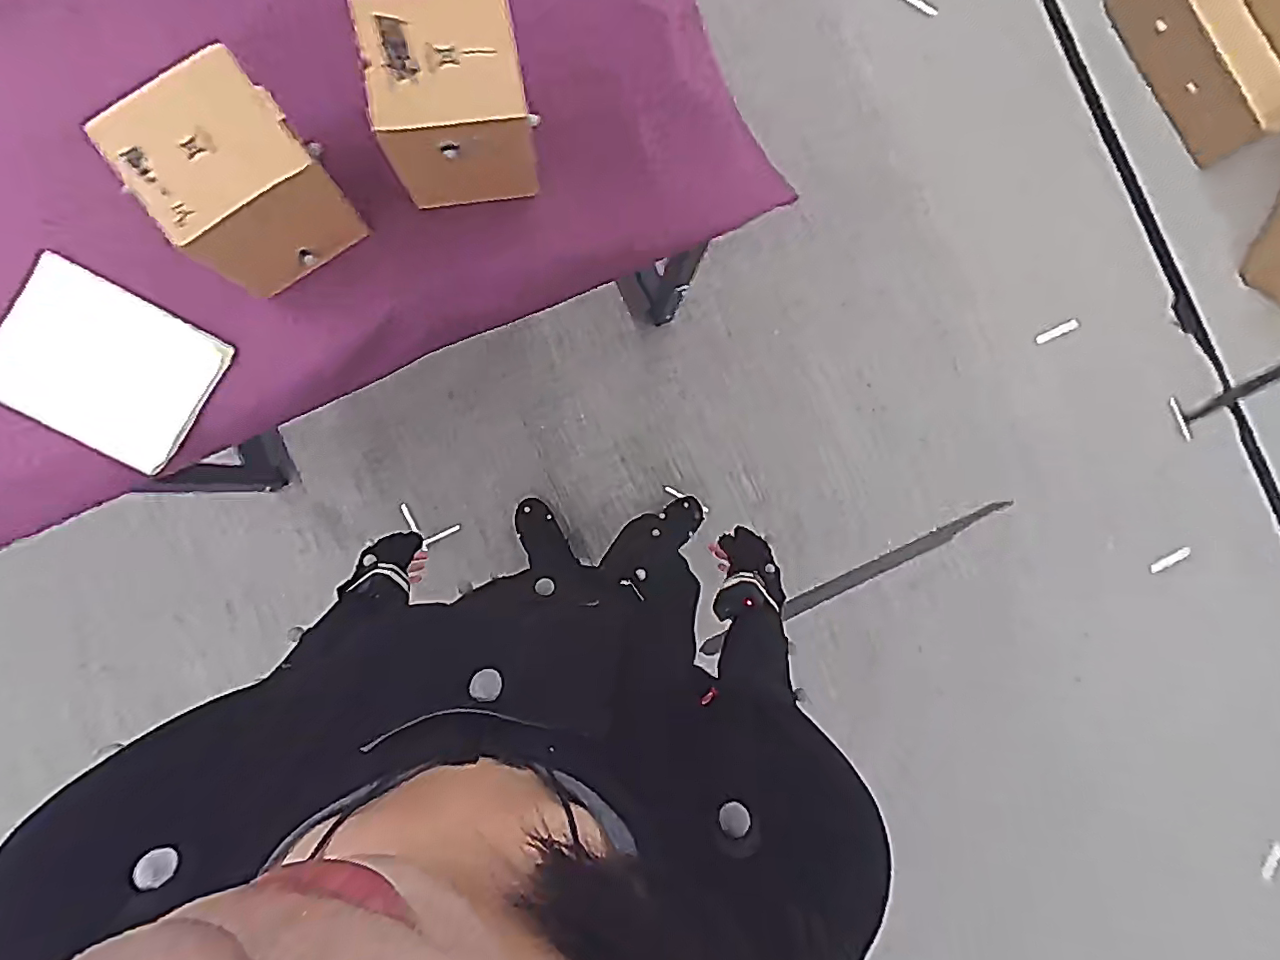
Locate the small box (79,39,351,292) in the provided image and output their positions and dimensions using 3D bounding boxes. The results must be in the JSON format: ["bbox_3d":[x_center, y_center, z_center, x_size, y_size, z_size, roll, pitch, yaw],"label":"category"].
[{"bbox_3d":[-0.494,-0.370,0.669,0.179,0.176,0.168,-37,92,-6],"label":"small box"}]

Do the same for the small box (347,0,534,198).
[{"bbox_3d":[-0.242,-0.489,0.696,0.179,0.176,0.168,-10,89,-6],"label":"small box"}]
